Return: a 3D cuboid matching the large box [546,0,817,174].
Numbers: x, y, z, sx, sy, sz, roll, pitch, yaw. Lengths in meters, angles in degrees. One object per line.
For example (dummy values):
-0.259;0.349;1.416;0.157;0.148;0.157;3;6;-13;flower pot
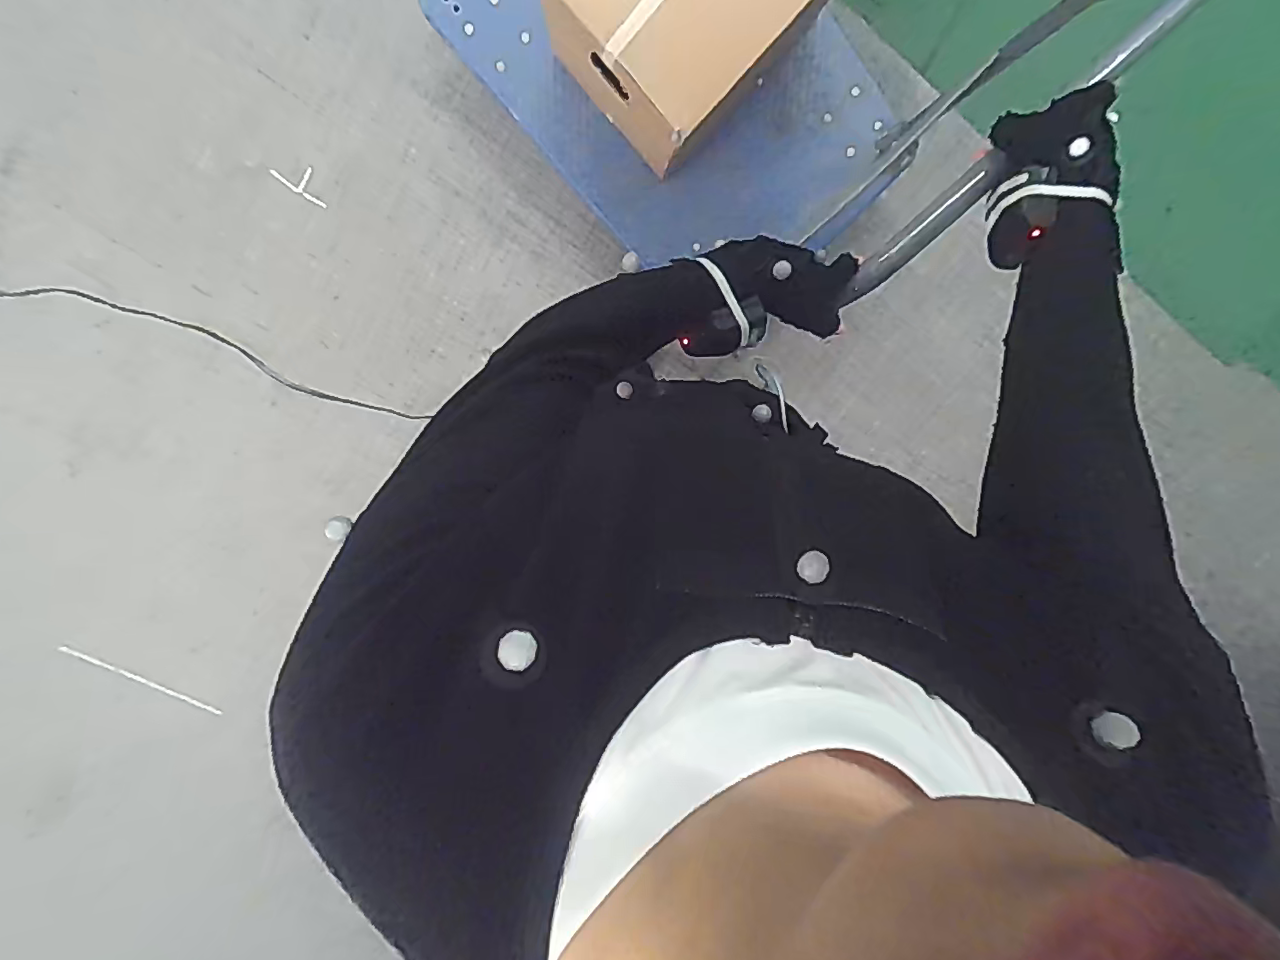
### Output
0.092;-0.815;0.907;0.320;0.320;0.408;42;103;-14;large box
